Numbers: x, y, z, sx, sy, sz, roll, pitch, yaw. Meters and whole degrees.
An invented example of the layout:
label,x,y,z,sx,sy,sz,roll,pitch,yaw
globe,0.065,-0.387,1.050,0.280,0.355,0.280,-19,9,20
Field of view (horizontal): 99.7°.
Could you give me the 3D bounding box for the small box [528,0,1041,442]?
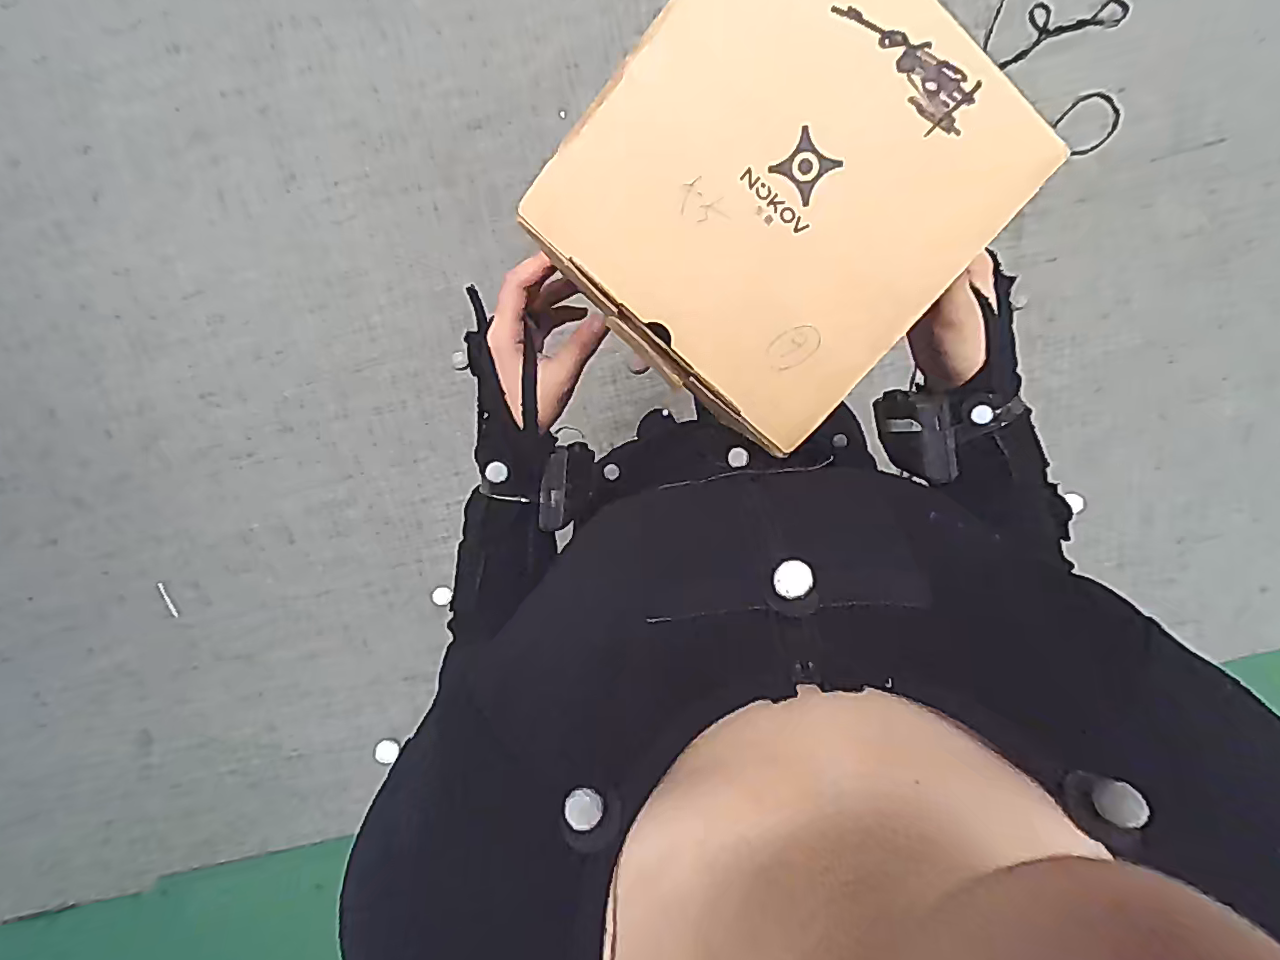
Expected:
label,x,y,z,sx,sy,sz,roll,pitch,yaw
small box,0.065,-0.148,0.322,0.168,0.176,0.179,40,99,-7
